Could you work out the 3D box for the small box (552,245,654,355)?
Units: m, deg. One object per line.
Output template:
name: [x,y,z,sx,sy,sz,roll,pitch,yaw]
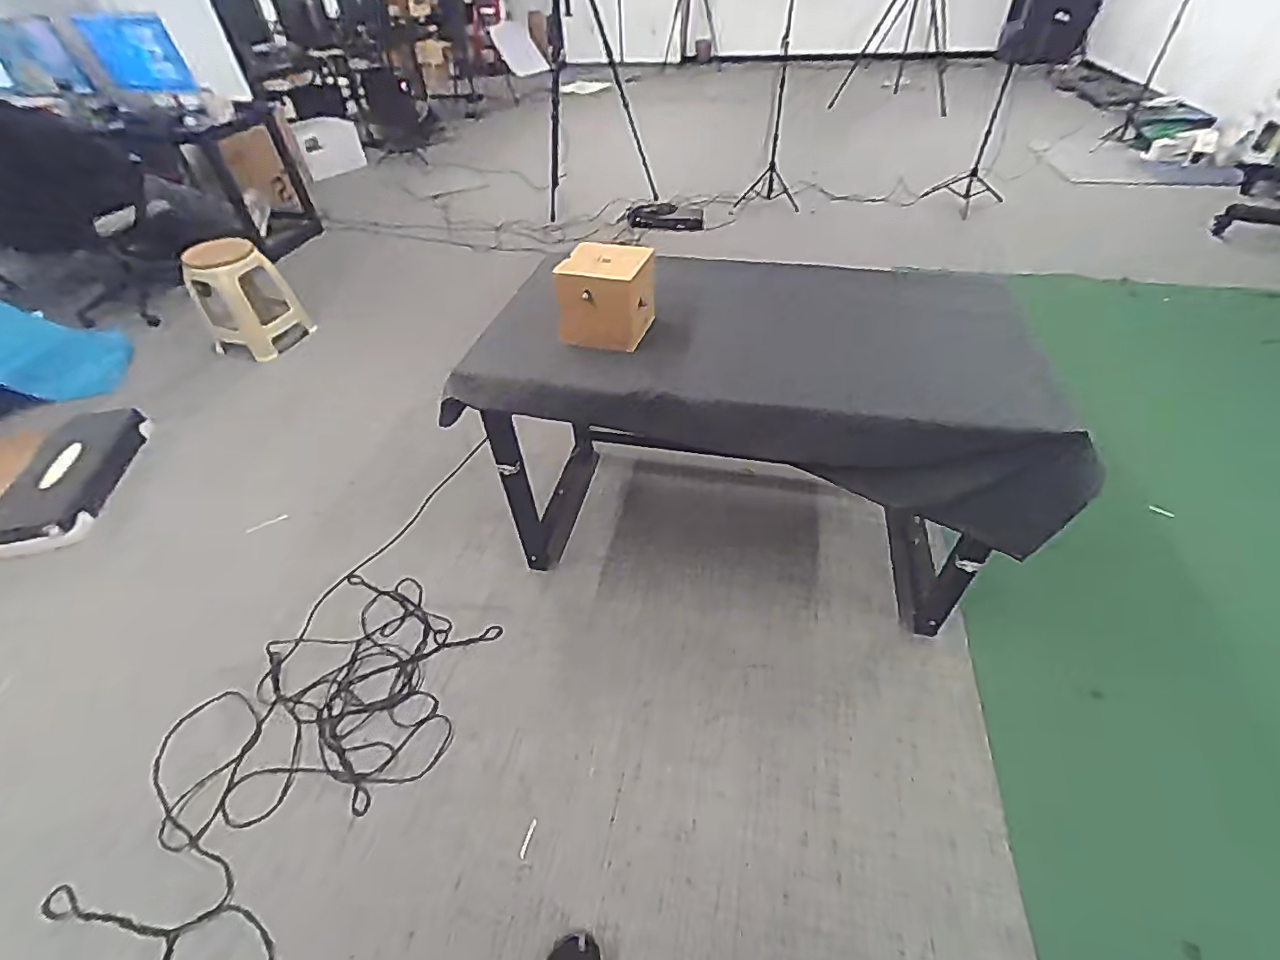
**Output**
small box: [-0.073,-0.397,1.198,0.179,0.176,0.168,12,46,14]
